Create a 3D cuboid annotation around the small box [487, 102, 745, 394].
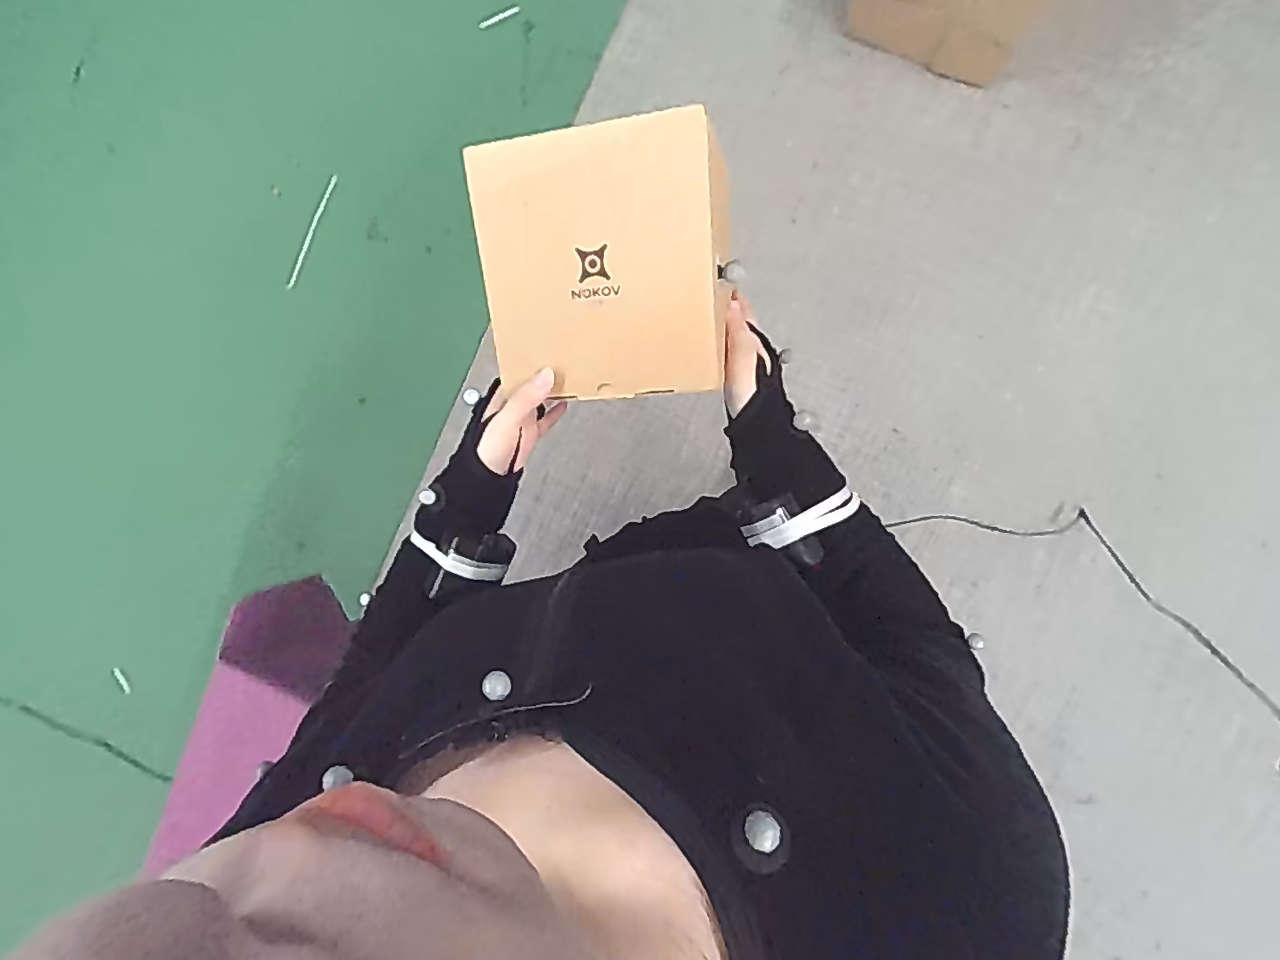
[{"bbox_3d":[-0.002,-0.172,0.443,0.168,0.176,0.179,0,109,13],"label":"small box"}]
